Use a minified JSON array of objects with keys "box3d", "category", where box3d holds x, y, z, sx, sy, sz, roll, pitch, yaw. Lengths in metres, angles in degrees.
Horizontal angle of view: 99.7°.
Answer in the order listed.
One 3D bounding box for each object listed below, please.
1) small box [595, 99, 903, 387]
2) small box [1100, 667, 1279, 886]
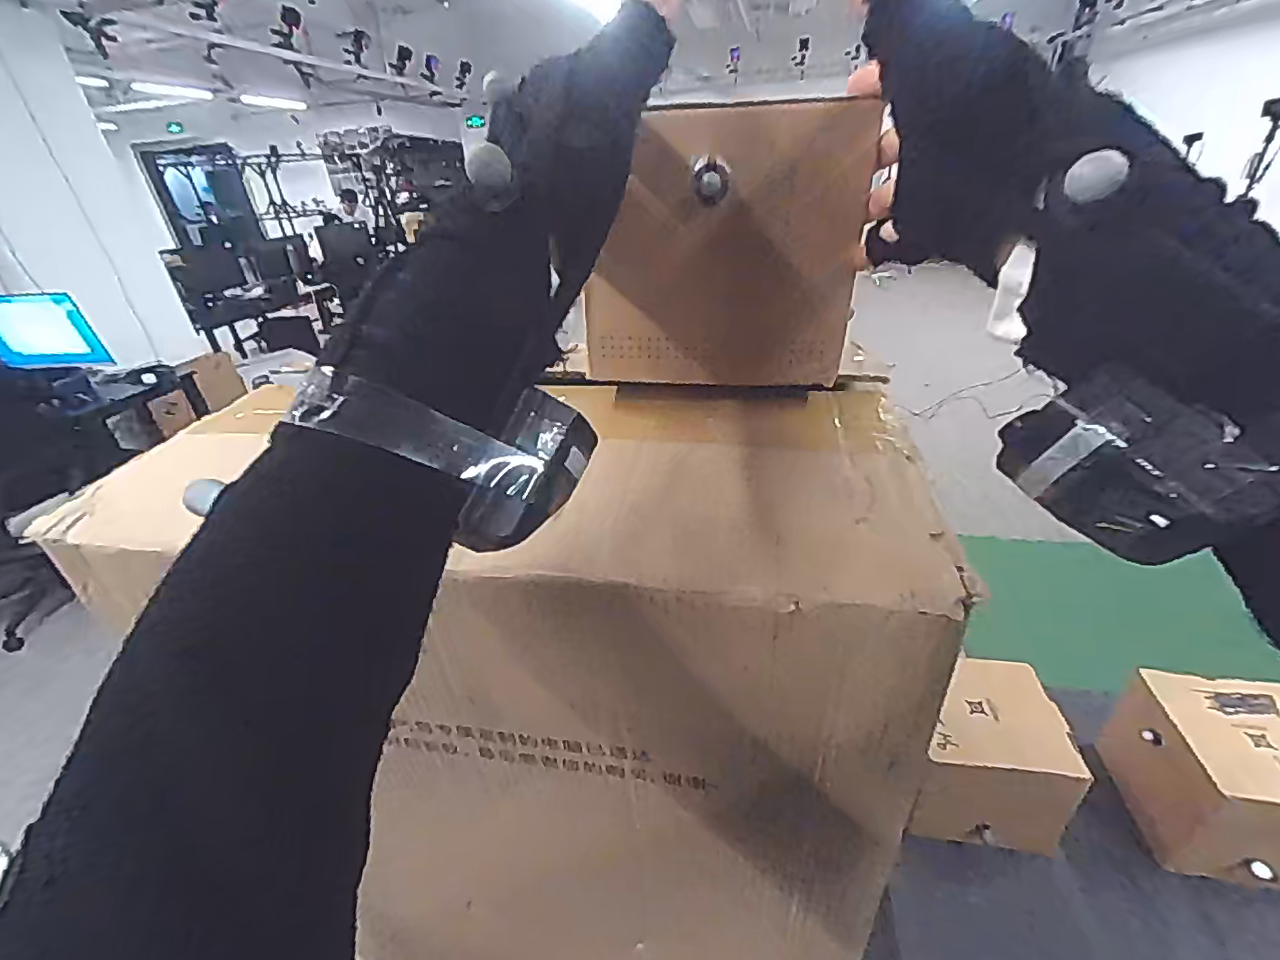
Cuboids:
[{"box3d":[0.069,-0.178,0.410,0.179,0.176,0.168,4,32,5],"category":"small box"},{"box3d":[0.743,0.373,0.691,0.168,0.176,0.179,2,31,13],"category":"small box"}]
